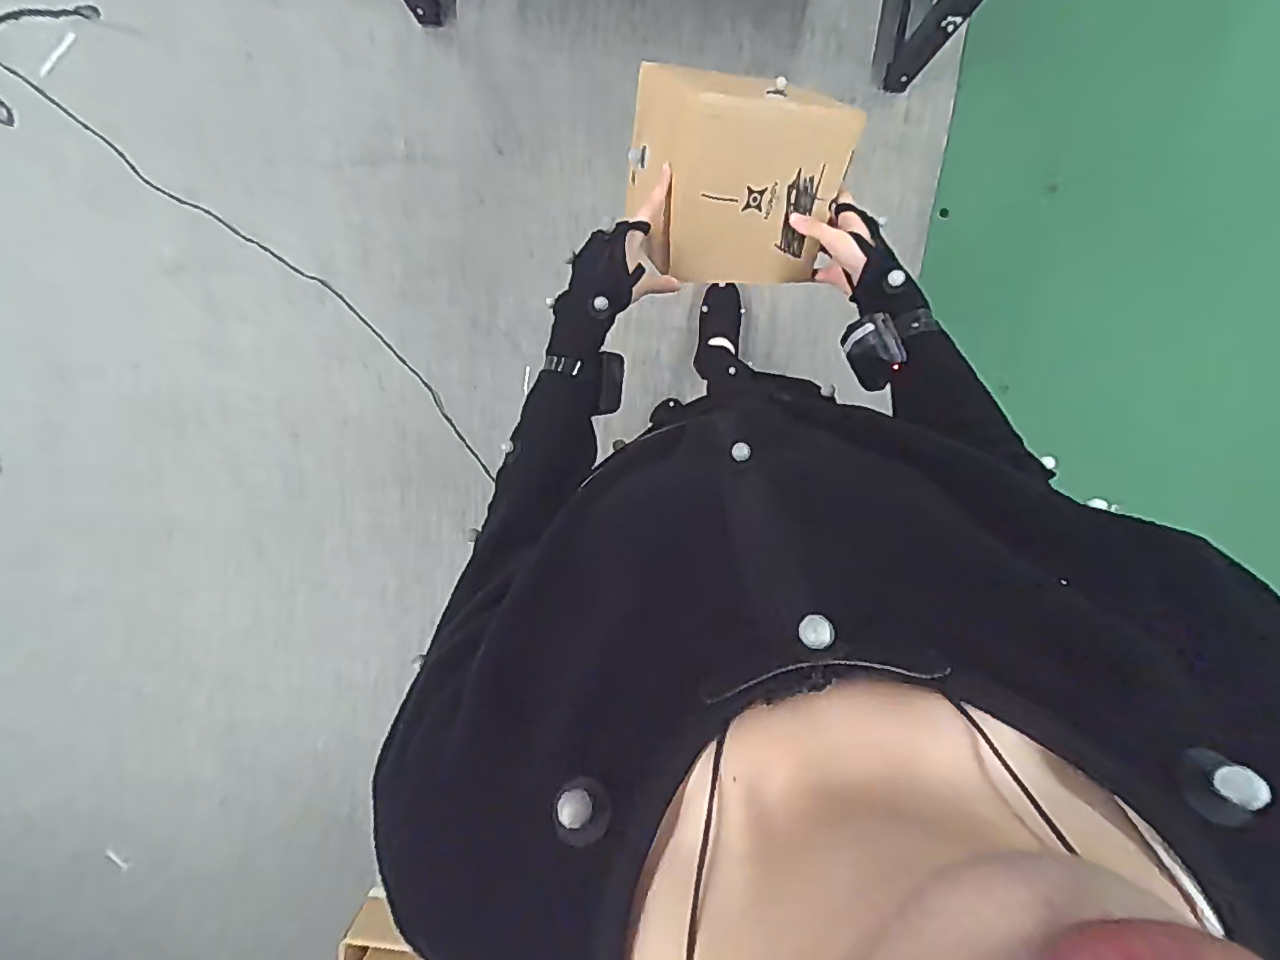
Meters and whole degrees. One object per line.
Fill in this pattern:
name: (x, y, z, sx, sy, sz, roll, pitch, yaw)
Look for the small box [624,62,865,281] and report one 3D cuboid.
small box: (0.095, -0.330, 0.582, 0.179, 0.176, 0.168, -5, 134, -17)
